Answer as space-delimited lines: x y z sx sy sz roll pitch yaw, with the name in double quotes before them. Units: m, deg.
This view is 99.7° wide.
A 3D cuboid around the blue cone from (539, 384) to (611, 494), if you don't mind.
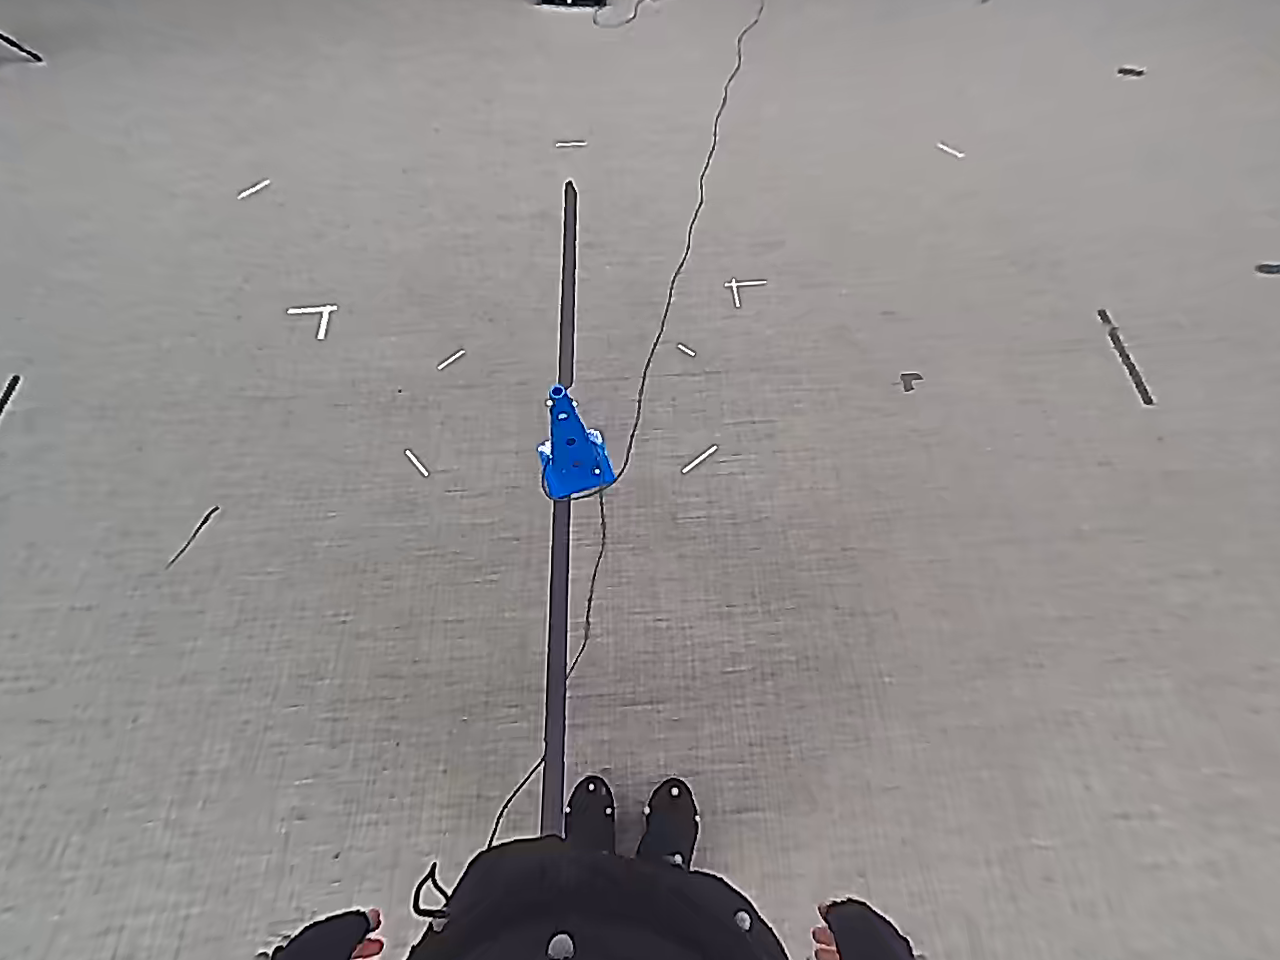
"blue cone" -0.196 -0.137 1.463 0.193 0.380 0.192 -17 63 -9
